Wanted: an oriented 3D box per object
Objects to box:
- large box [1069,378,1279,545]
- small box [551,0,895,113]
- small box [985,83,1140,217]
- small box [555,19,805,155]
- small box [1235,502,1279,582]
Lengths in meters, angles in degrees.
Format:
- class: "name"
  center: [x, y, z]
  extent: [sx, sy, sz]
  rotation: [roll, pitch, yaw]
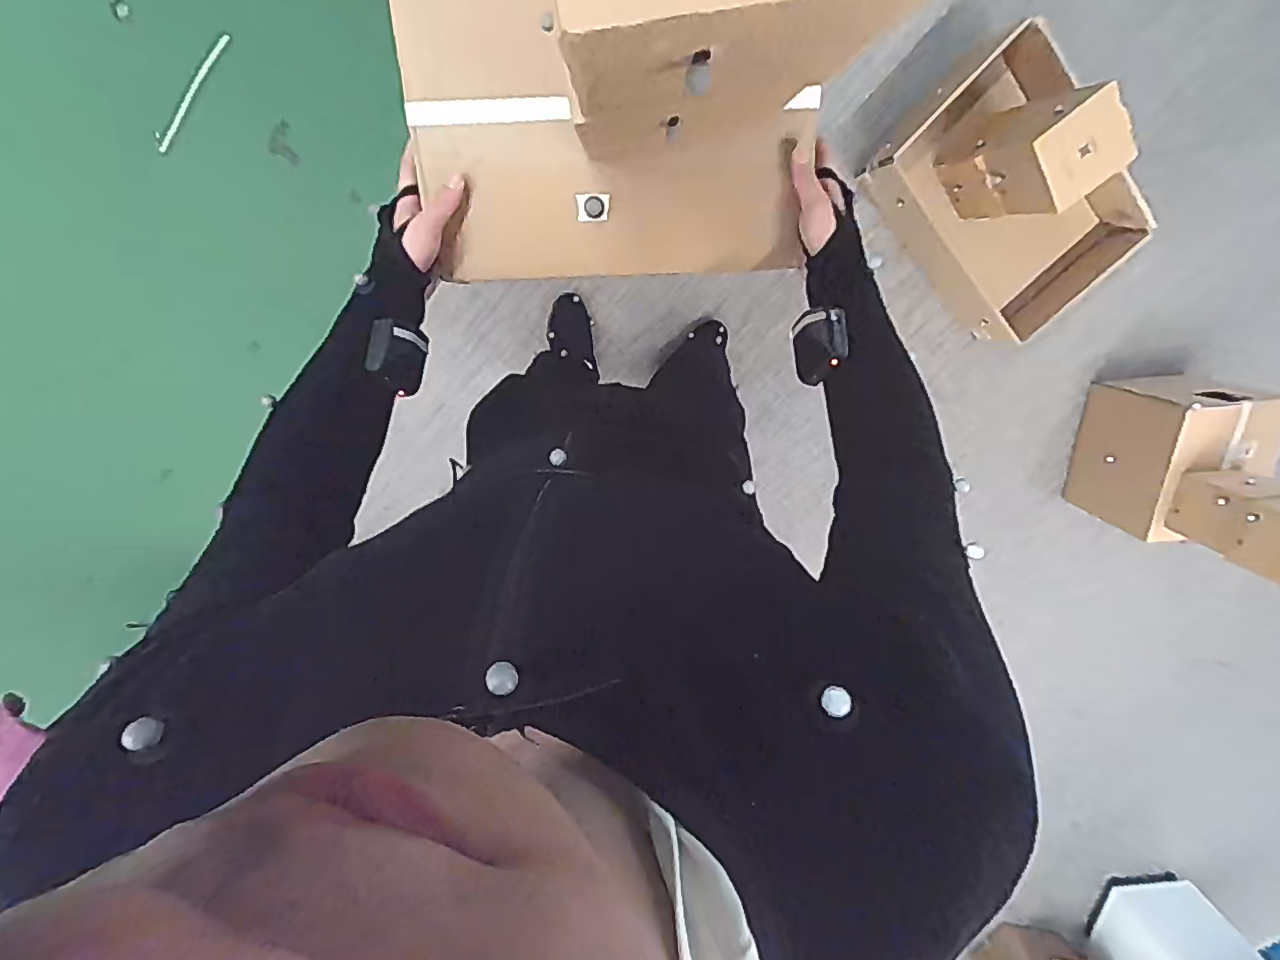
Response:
- class: "large box"
  center: [1.568, -0.066, 1.603]
  extent: [0.320, 0.320, 0.408]
  rotation: [-6, 111, -2]
- class: "small box"
  center: [0.039, -0.311, 0.277]
  extent: [0.179, 0.176, 0.168]
  rotation: [-7, 113, 2]
- class: "small box"
  center: [0.890, -0.690, 1.152]
  extent: [0.179, 0.176, 0.168]
  rotation: [-37, 112, 11]
- class: "small box"
  center: [0.025, -0.373, 0.428]
  extent: [0.179, 0.176, 0.168]
  rotation: [-8, 113, 2]
- class: "small box"
  center: [1.561, 0.155, 1.249]
  extent: [0.179, 0.176, 0.168]
  rotation: [-5, 112, -2]
